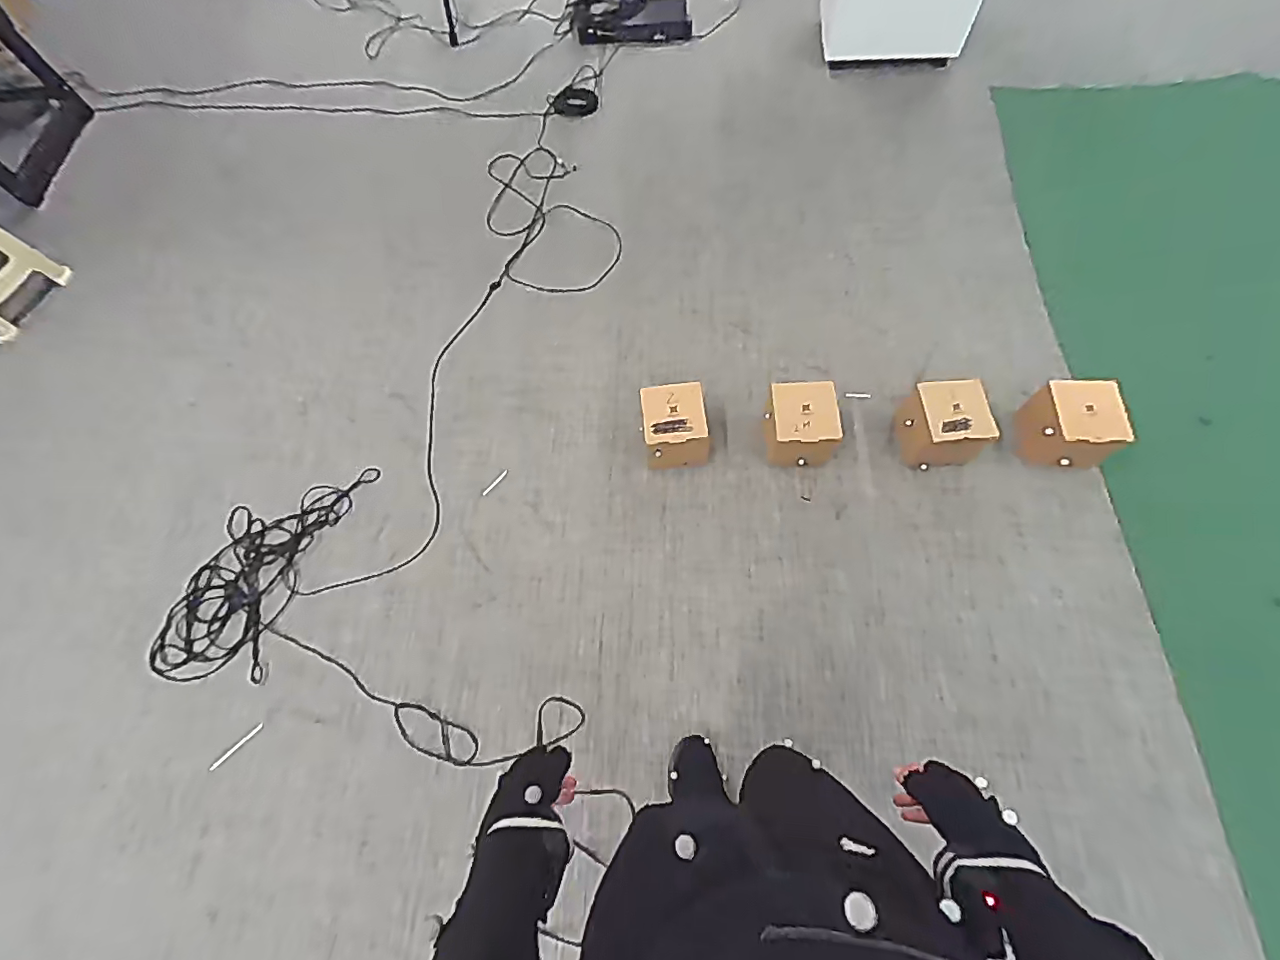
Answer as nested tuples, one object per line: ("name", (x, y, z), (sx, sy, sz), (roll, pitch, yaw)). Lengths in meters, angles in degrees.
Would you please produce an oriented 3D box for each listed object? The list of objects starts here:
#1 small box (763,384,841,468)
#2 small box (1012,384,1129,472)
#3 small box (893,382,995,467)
("small box", (0.438, -0.146, 1.485), (0.168, 0.176, 0.179), (-1, 67, 4))
("small box", (1.135, -0.137, 1.444), (0.168, 0.176, 0.179), (1, 67, 5))
("small box", (0.812, -0.142, 1.463), (0.168, 0.176, 0.179), (-3, 66, 2))
